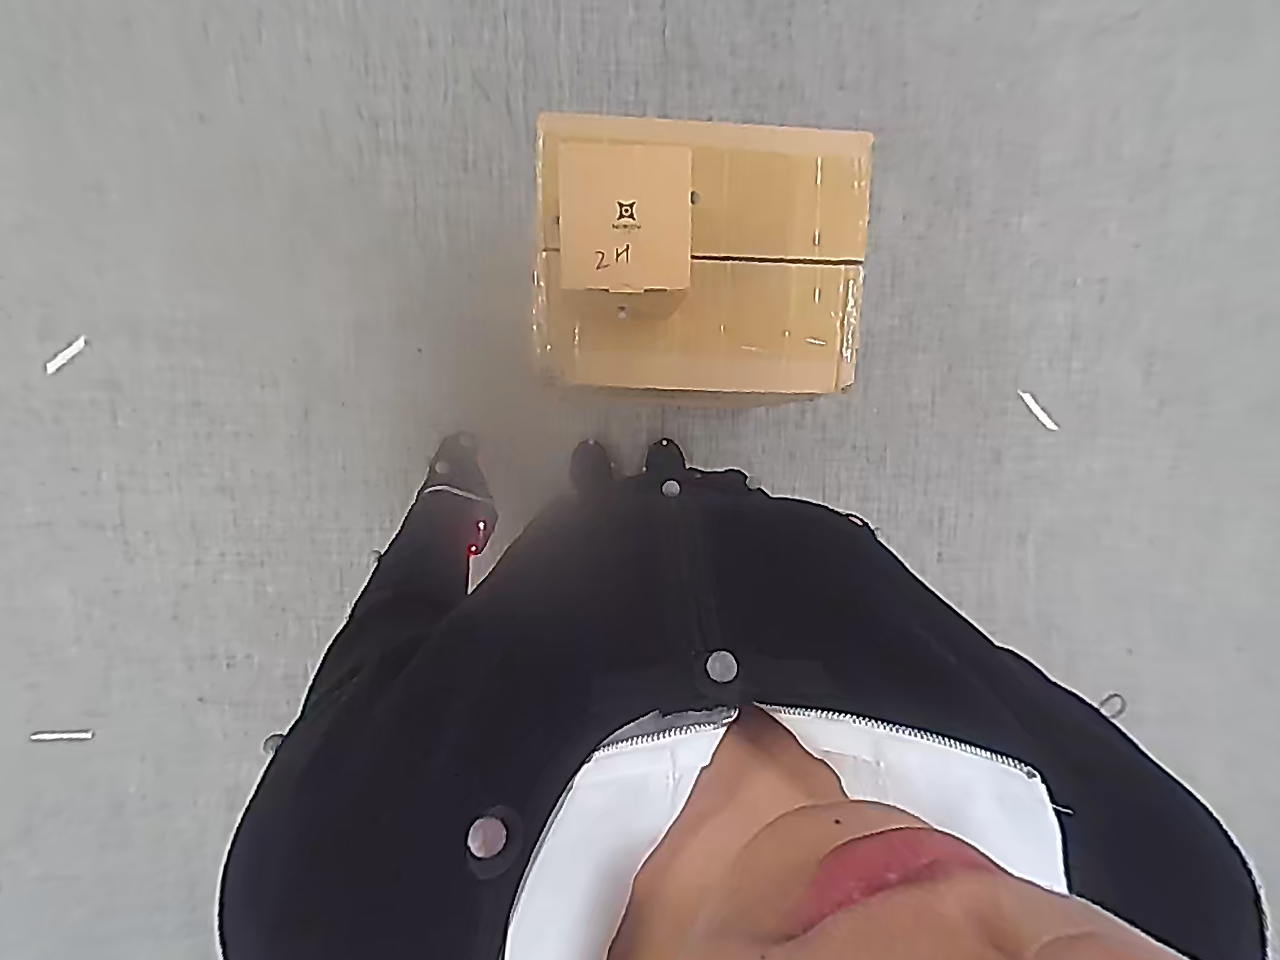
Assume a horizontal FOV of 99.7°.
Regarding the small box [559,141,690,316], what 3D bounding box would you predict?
[{"bbox_3d":[-0.026,-0.335,0.751,0.168,0.176,0.179,-1,97,-4],"label":"small box"}]
